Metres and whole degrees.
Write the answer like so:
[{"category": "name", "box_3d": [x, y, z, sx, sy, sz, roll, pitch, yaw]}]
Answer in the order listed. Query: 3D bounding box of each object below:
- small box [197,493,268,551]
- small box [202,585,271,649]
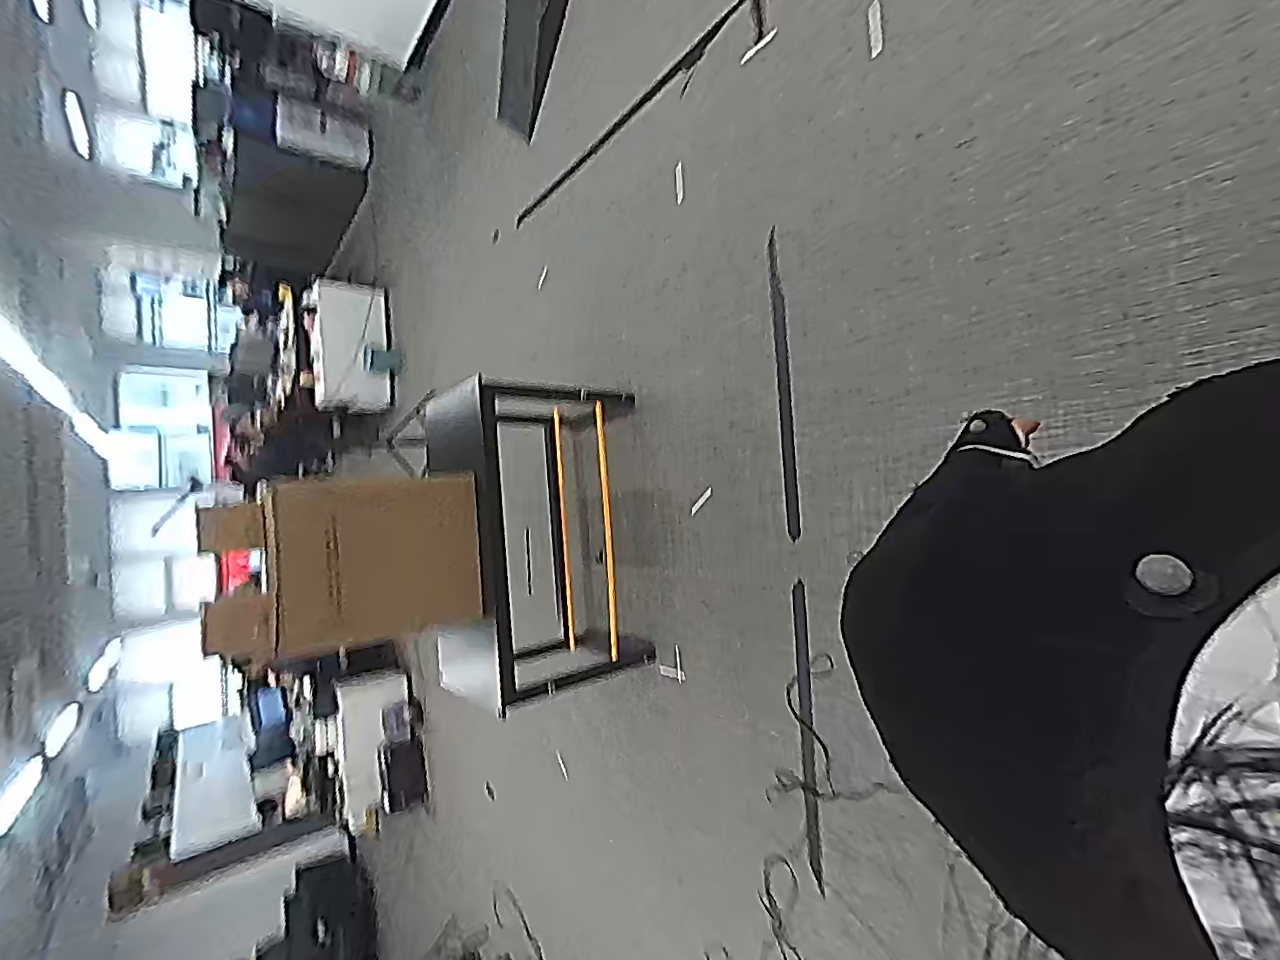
[{"category": "small box", "box_3d": [-1.284, 0.134, 1.707, 0.179, 0.176, 0.168, -10, 85, 51]}, {"category": "small box", "box_3d": [-1.284, 0.429, 1.722, 0.179, 0.176, 0.168, -10, 84, 52]}]
